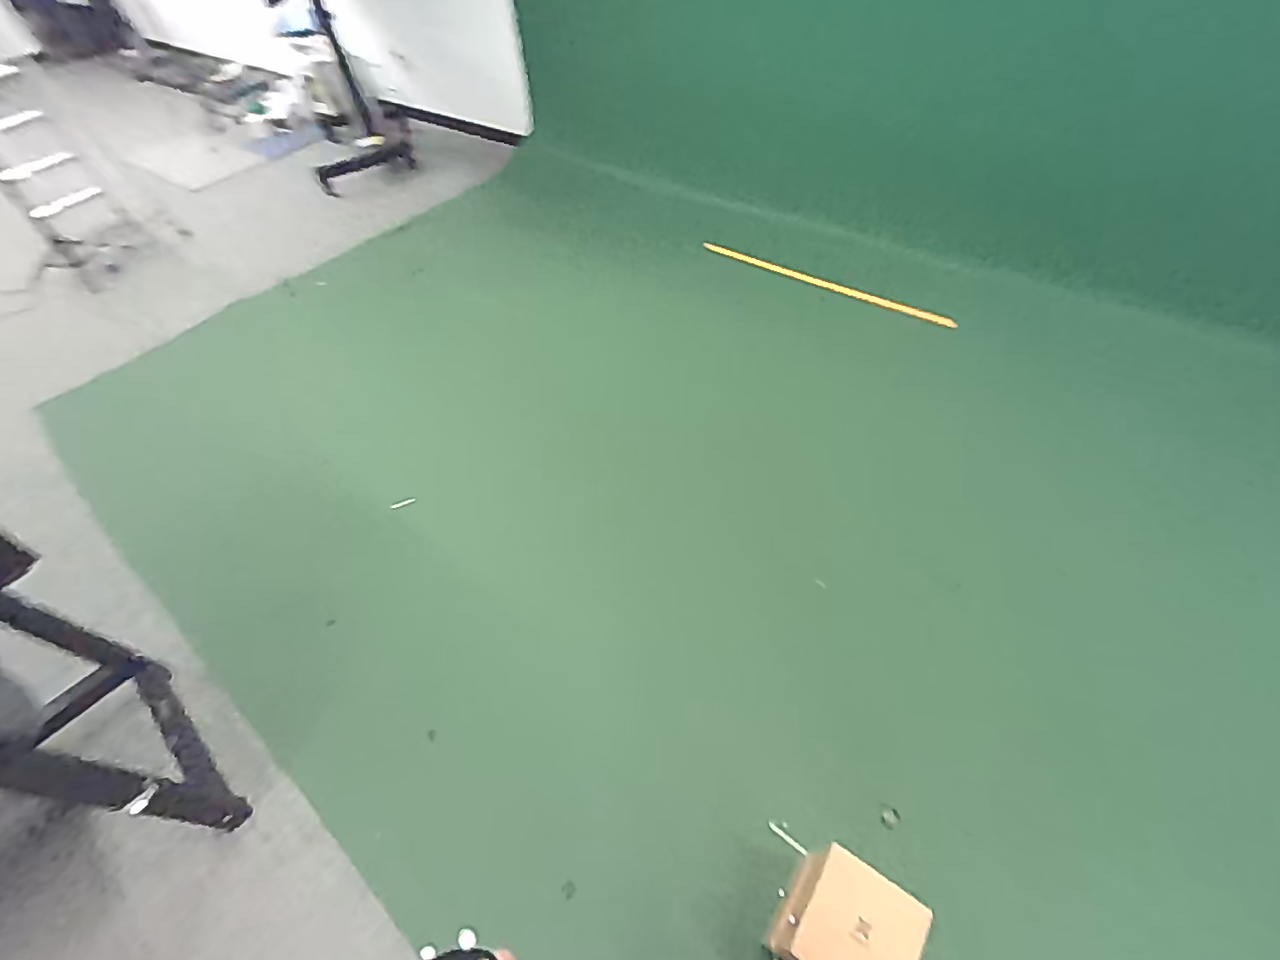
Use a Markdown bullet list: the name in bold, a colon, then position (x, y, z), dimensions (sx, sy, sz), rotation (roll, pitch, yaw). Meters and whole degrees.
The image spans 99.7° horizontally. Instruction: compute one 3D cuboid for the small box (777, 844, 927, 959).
- **small box**: position (0.345, 0.757, 0.908), dimensions (0.168, 0.176, 0.179), rotation (28, 58, 23)
